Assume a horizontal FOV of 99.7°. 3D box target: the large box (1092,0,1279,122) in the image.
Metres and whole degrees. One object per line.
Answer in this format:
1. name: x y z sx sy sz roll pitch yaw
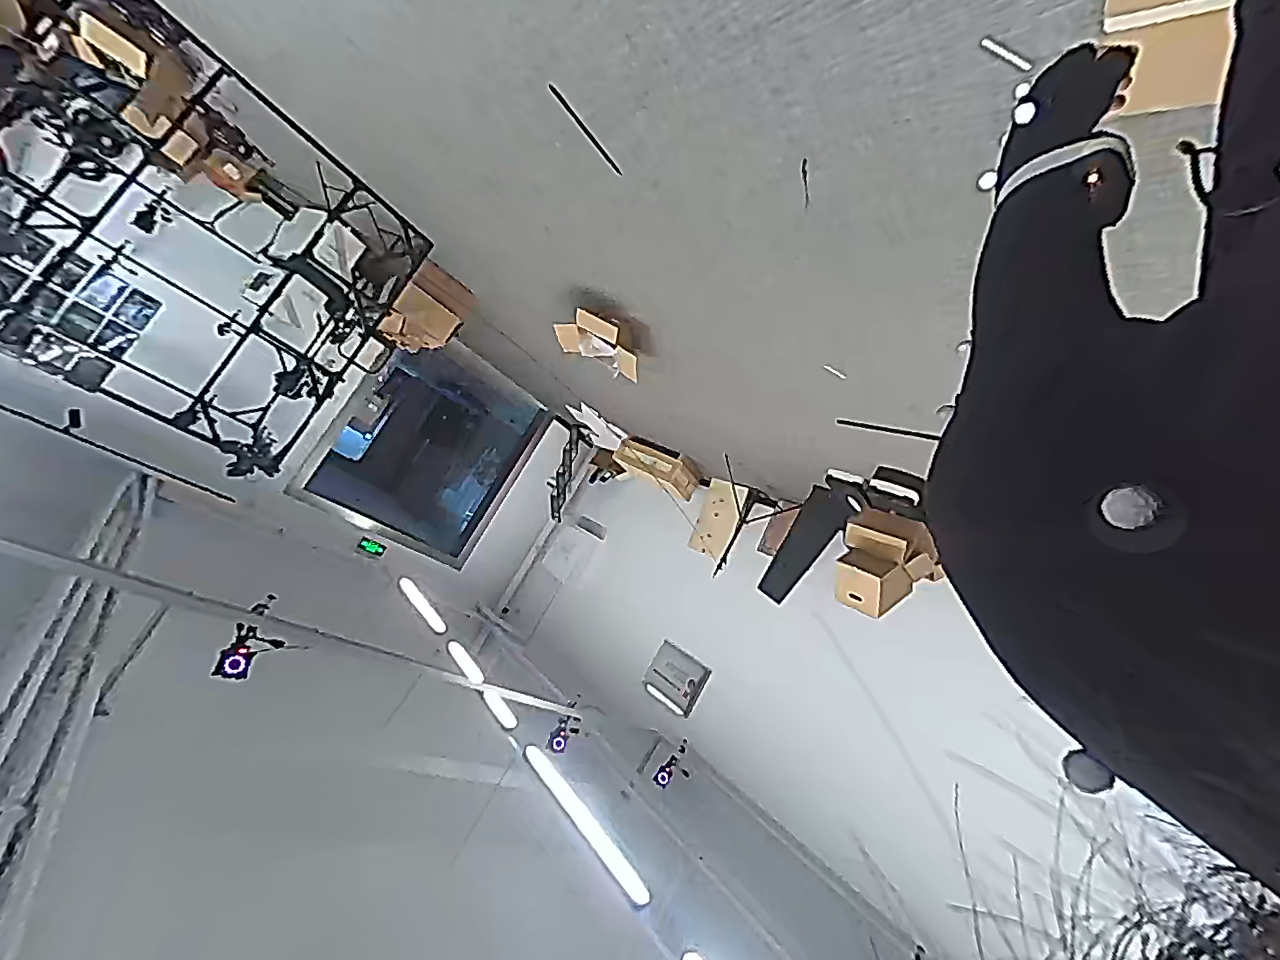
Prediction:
1. large box: 0.893 -0.744 0.698 0.408 0.320 0.320 23 169 41
